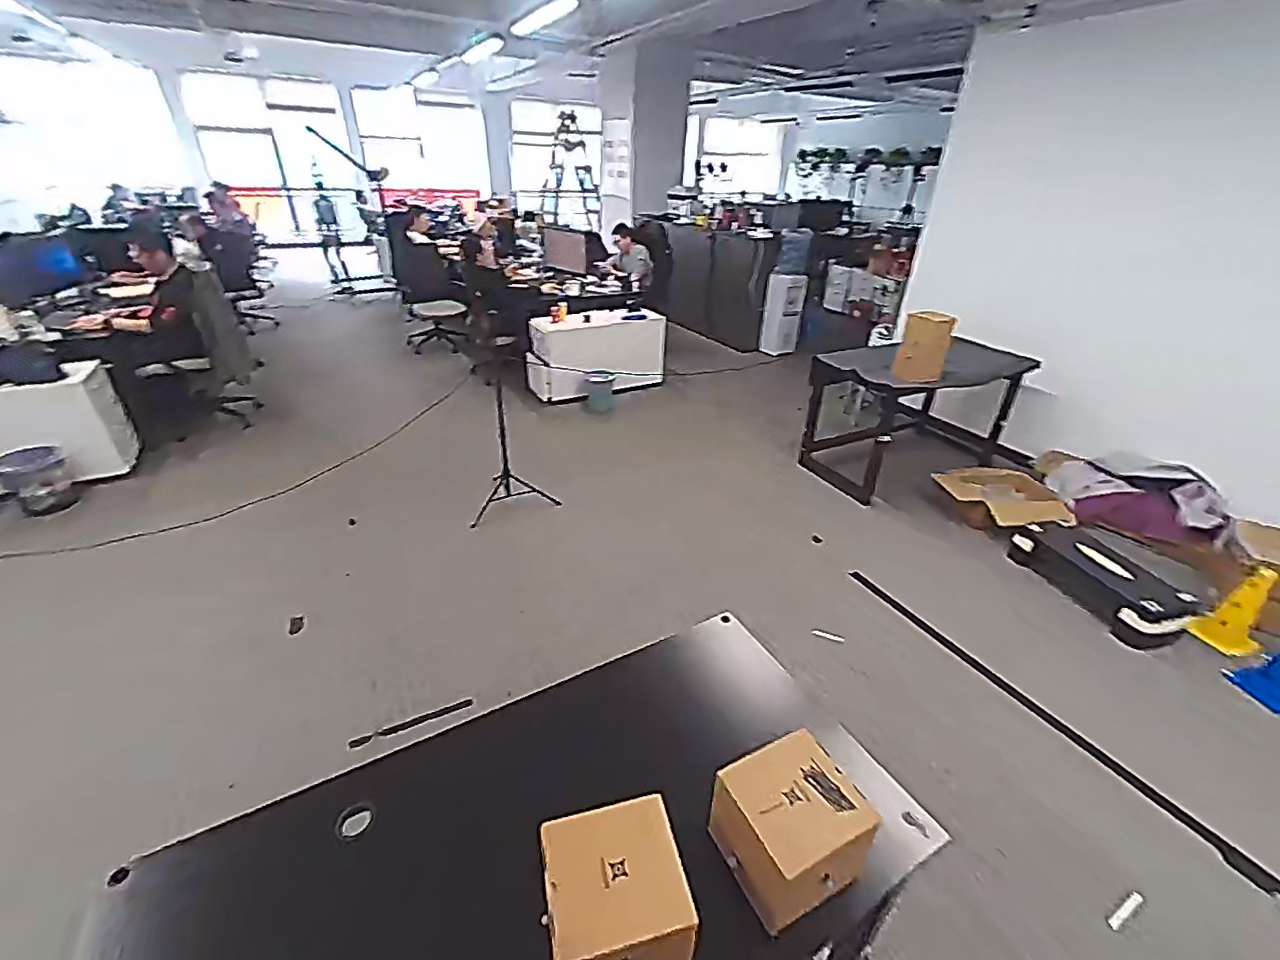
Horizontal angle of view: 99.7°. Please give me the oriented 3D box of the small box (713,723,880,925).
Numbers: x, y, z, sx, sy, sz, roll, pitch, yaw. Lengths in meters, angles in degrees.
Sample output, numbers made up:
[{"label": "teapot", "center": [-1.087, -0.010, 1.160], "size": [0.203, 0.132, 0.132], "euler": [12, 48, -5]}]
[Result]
[{"label": "small box", "center": [0.227, 0.521, 0.830], "size": [0.179, 0.176, 0.168], "euler": [-15, 33, -23]}]

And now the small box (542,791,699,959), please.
[{"label": "small box", "center": [-0.034, 0.571, 0.740], "size": [0.179, 0.176, 0.168], "euler": [-8, 31, -14]}]
